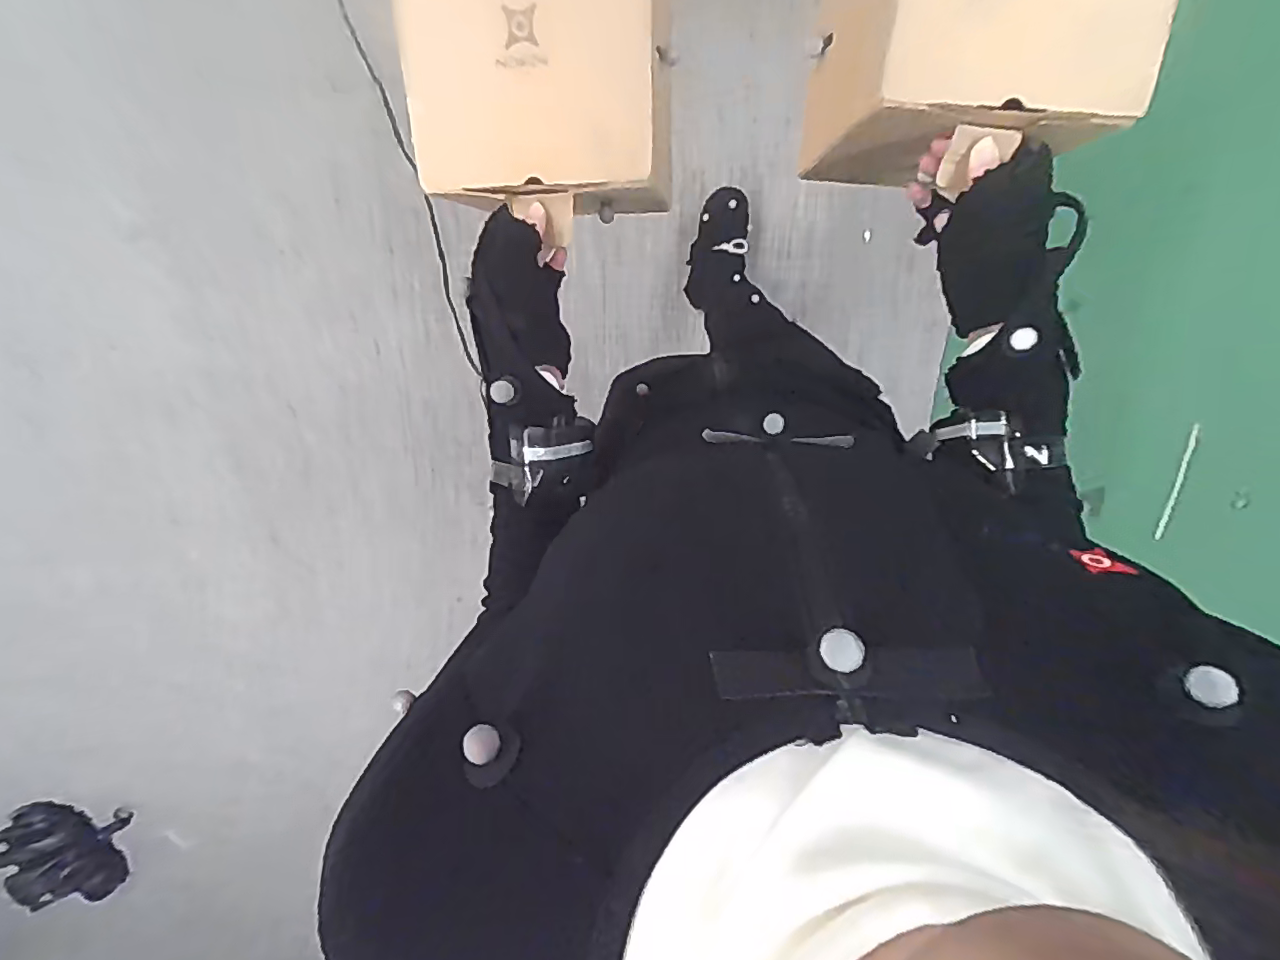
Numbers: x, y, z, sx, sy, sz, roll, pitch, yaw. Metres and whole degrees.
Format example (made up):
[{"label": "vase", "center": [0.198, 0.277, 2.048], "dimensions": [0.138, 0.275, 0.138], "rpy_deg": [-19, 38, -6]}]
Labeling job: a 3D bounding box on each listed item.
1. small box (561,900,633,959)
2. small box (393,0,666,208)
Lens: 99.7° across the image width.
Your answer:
[{"label": "small box", "center": [-0.112, 1.288, 1.473], "dimensions": [0.179, 0.176, 0.168], "rpy_deg": [0, 102, 3]}, {"label": "small box", "center": [-0.068, -0.316, 0.422], "dimensions": [0.168, 0.176, 0.179], "rpy_deg": [0, 110, 7]}]
